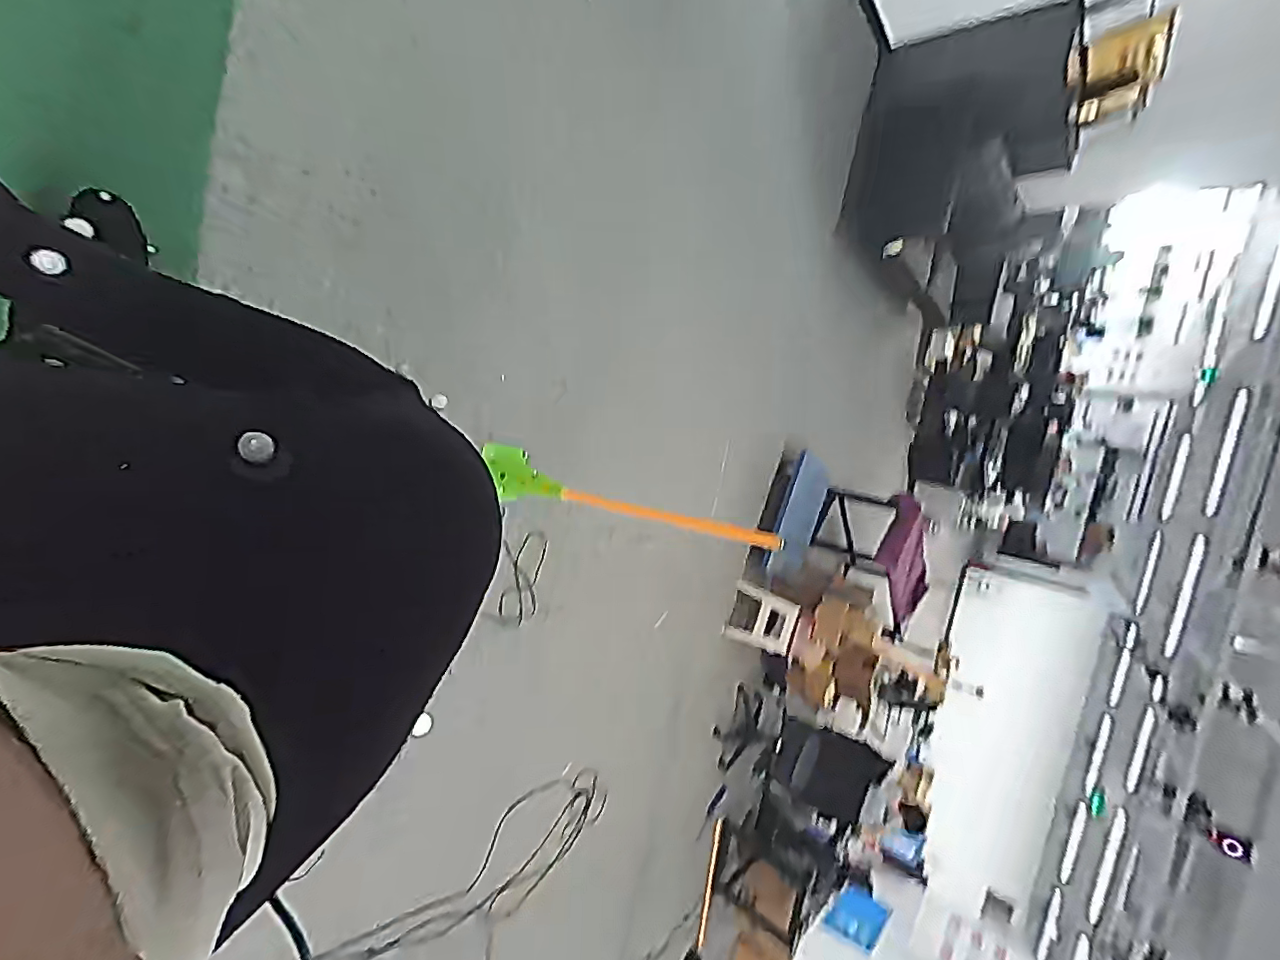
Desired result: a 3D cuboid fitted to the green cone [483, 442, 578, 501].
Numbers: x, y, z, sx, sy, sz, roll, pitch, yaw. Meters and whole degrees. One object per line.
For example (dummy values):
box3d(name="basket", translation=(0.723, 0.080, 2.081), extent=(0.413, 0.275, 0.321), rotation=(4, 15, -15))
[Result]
box3d(name="green cone", translation=(-0.354, 0.005, 1.890), extent=(0.200, 0.368, 0.202), rotation=(8, 97, -51))
